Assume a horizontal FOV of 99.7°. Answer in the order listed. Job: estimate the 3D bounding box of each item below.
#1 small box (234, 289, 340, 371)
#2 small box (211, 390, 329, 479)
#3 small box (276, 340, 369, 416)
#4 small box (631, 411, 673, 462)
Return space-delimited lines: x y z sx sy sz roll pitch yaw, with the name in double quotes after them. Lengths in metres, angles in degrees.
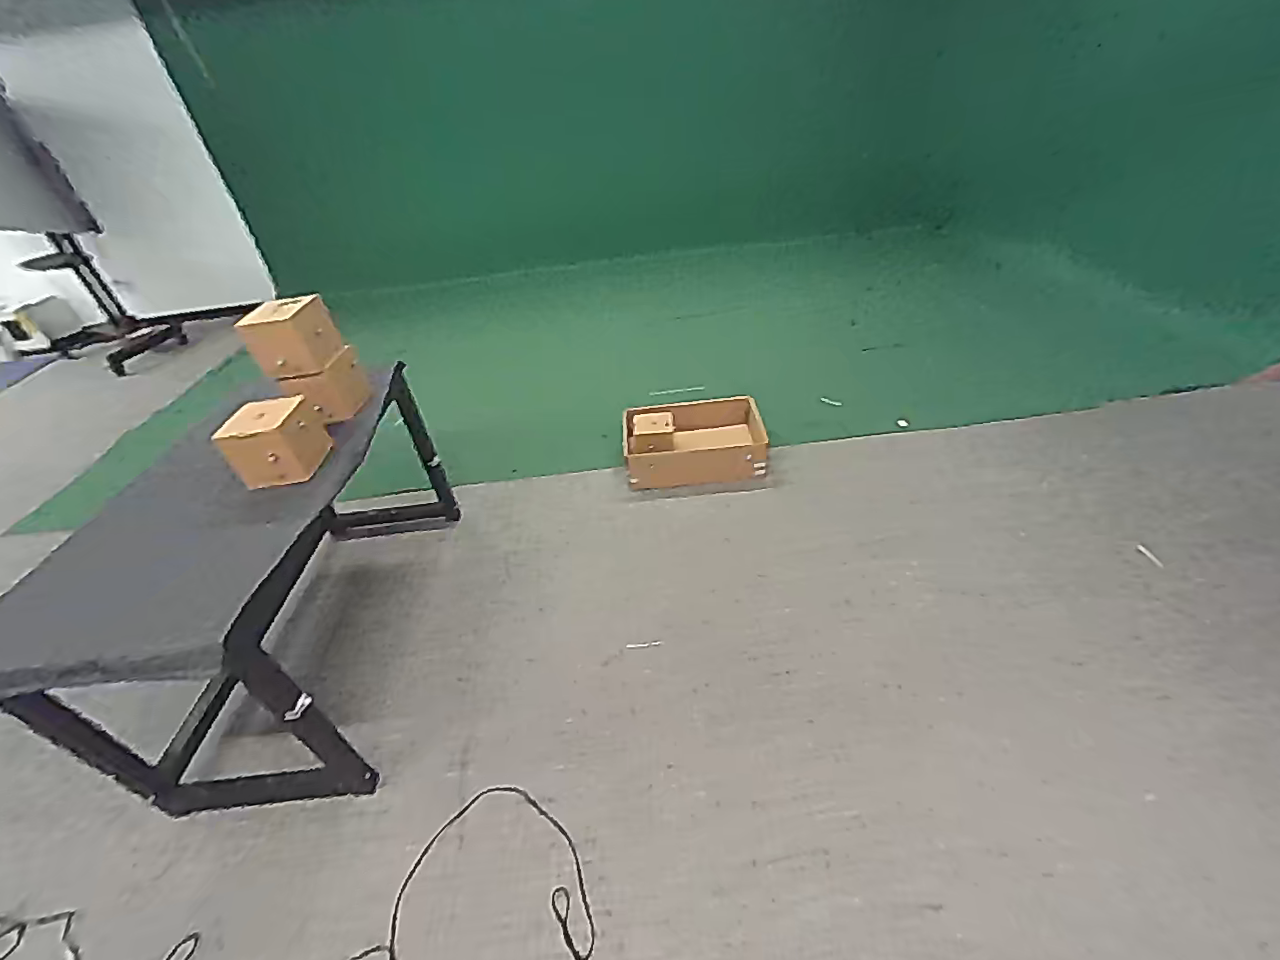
-1.001 -0.431 1.559 0.168 0.176 0.179 -5 40 5 "small box"
-0.960 -0.116 1.426 0.168 0.176 0.179 -7 38 1 "small box"
-0.971 -0.314 1.671 0.168 0.176 0.179 -5 39 6 "small box"
0.056 -0.197 2.477 0.179 0.176 0.168 -5 39 3 "small box"
